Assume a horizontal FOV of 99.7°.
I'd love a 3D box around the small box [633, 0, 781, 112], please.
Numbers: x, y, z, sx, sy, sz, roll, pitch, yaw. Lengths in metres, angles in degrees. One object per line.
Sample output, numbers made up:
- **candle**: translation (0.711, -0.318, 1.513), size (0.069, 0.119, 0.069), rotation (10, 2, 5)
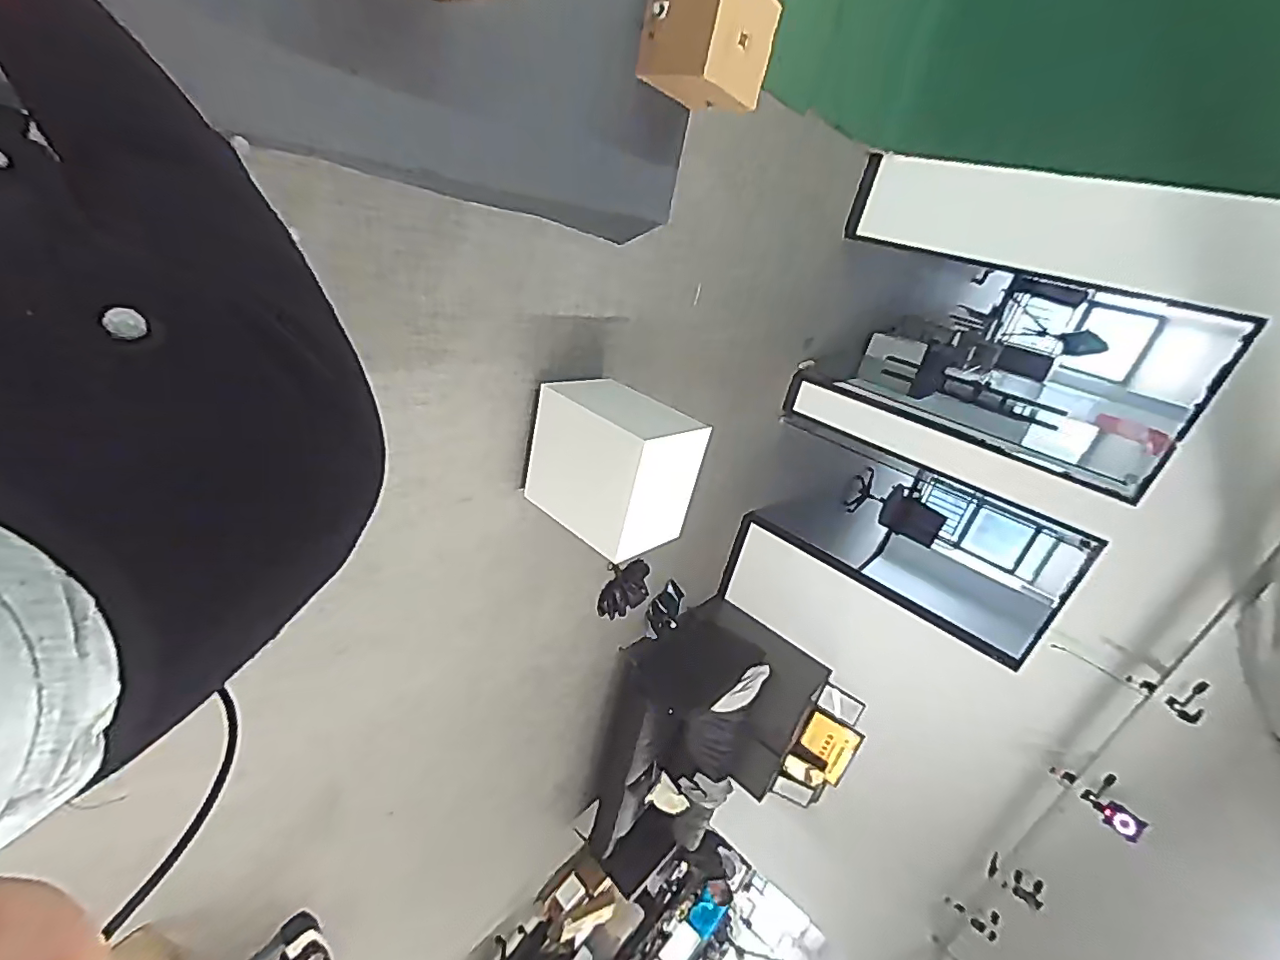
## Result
- **small box**: translation (0.117, -0.786, 0.968), size (0.179, 0.176, 0.168), rotation (-15, 126, -47)
